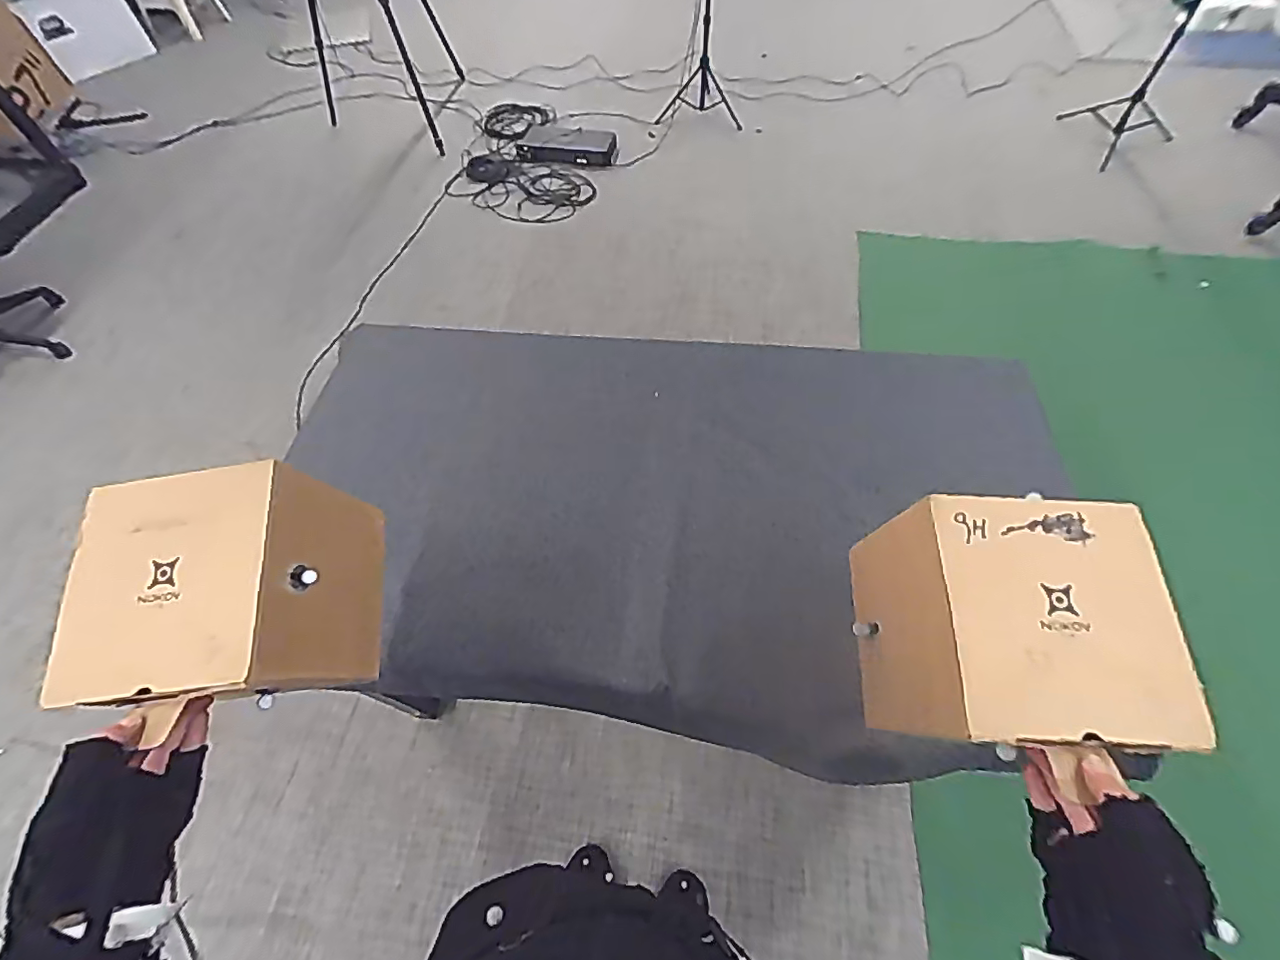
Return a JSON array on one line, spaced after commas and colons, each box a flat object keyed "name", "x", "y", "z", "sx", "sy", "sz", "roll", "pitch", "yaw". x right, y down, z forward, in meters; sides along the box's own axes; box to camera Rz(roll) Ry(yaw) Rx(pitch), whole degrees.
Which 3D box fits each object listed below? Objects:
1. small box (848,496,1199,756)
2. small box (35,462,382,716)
[{"name": "small box", "x": 0.294, "y": 0.125, "z": 0.464, "sx": 0.168, "sy": 0.176, "sz": 0.179, "roll": 3, "pitch": 69, "yaw": -1}, {"name": "small box", "x": -0.355, "y": 0.103, "z": 0.486, "sx": 0.168, "sy": 0.176, "sz": 0.179, "roll": -8, "pitch": 69, "yaw": 3}]
